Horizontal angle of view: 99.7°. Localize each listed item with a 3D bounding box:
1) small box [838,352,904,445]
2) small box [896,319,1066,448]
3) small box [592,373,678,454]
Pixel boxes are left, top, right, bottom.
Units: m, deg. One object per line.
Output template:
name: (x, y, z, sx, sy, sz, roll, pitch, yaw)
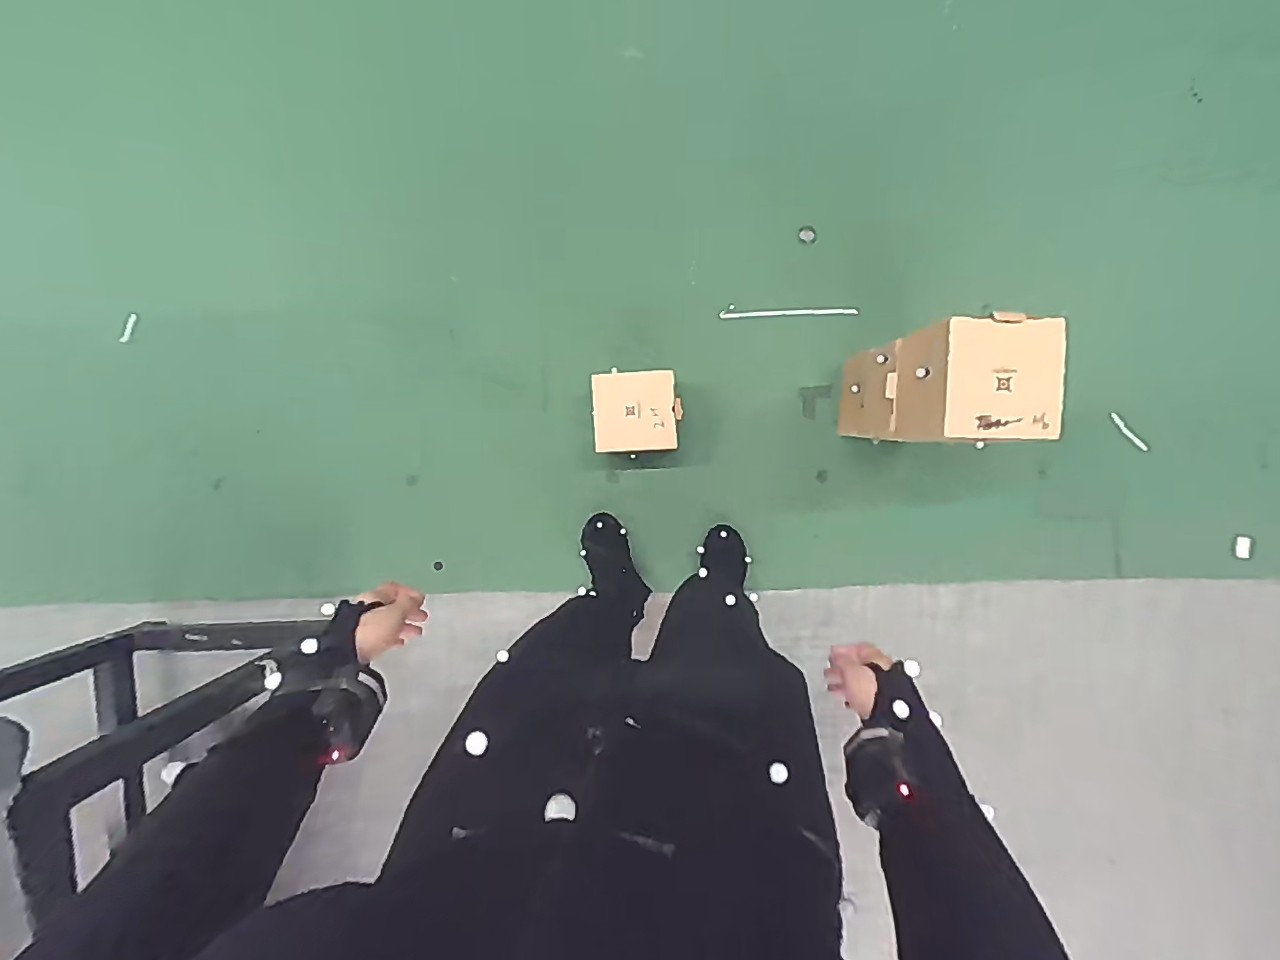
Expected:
small box: (0.547, -0.171, 1.185, 0.168, 0.176, 0.179, 6, 93, 2)
small box: (0.527, -0.143, 0.857, 0.168, 0.176, 0.179, 2, 92, 1)
small box: (-0.005, -0.143, 1.206, 0.179, 0.176, 0.168, -3, 94, 2)
